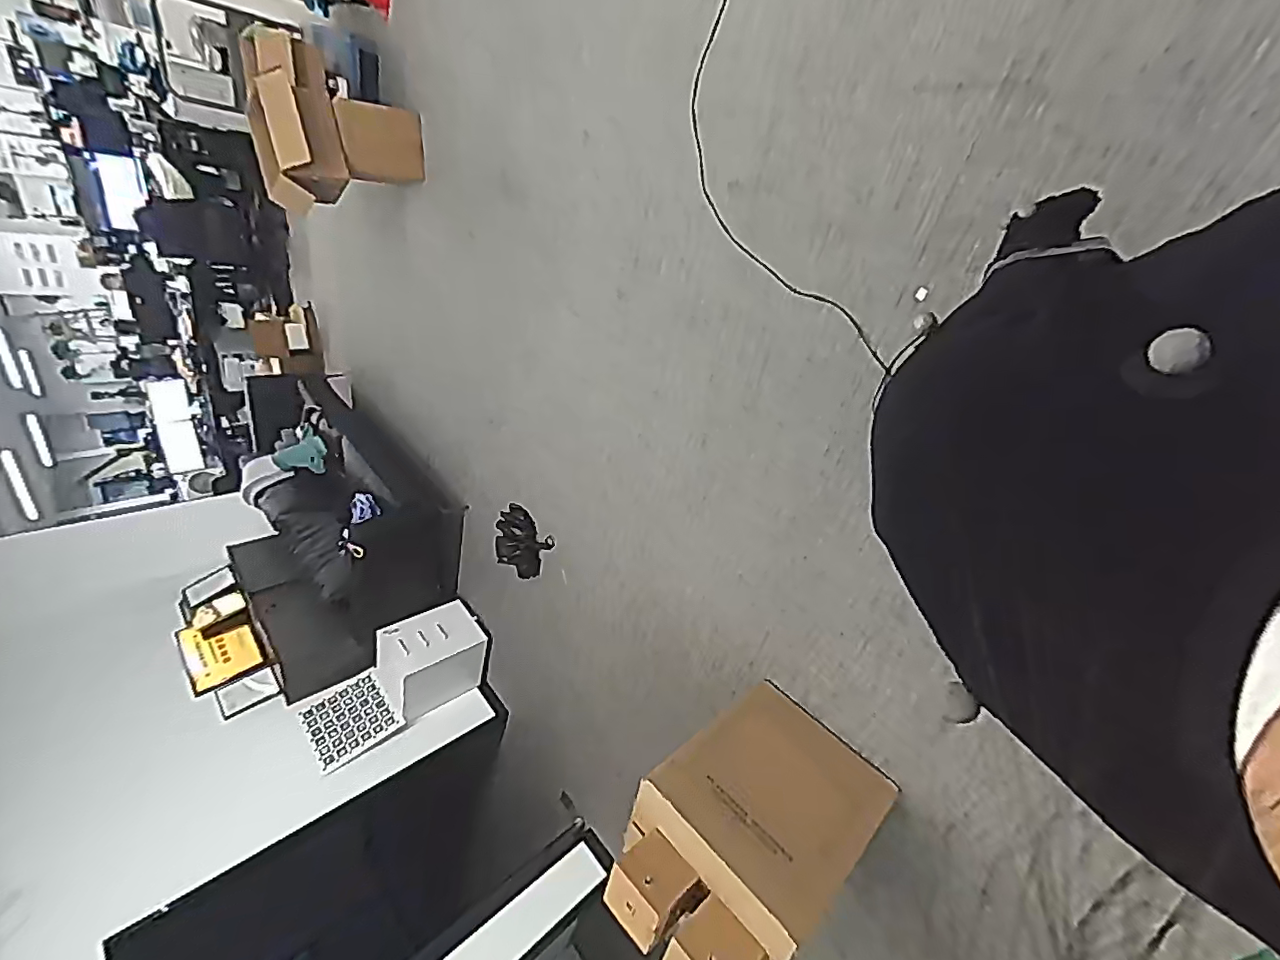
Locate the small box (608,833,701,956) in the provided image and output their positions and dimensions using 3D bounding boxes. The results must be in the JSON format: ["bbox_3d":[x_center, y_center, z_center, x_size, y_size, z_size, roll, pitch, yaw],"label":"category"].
[{"bbox_3d":[0.041,1.126,1.486,0.179,0.176,0.168,31,117,38],"label":"small box"}]

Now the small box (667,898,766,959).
[{"bbox_3d":[0.188,1.217,1.359,0.179,0.176,0.168,32,118,37],"label":"small box"}]
